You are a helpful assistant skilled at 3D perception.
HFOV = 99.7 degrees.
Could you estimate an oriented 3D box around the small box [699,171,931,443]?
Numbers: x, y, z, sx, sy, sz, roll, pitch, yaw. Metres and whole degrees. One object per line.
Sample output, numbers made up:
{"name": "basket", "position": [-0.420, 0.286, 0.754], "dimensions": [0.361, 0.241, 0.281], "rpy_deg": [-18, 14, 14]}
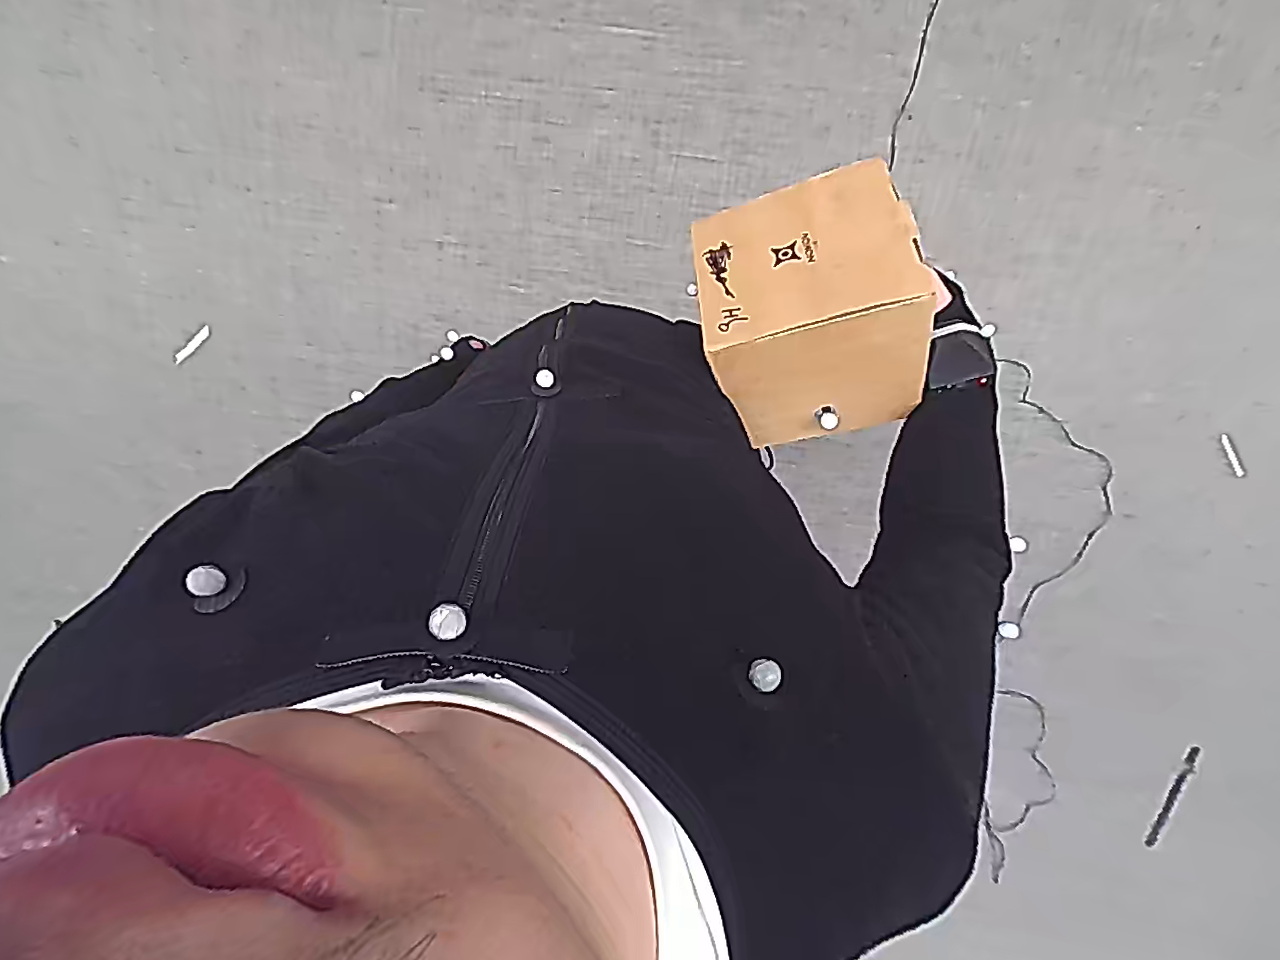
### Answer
{"name": "small box", "position": [0.167, -0.158, 0.542], "dimensions": [0.179, 0.176, 0.168], "rpy_deg": [-11, 60, 17]}
